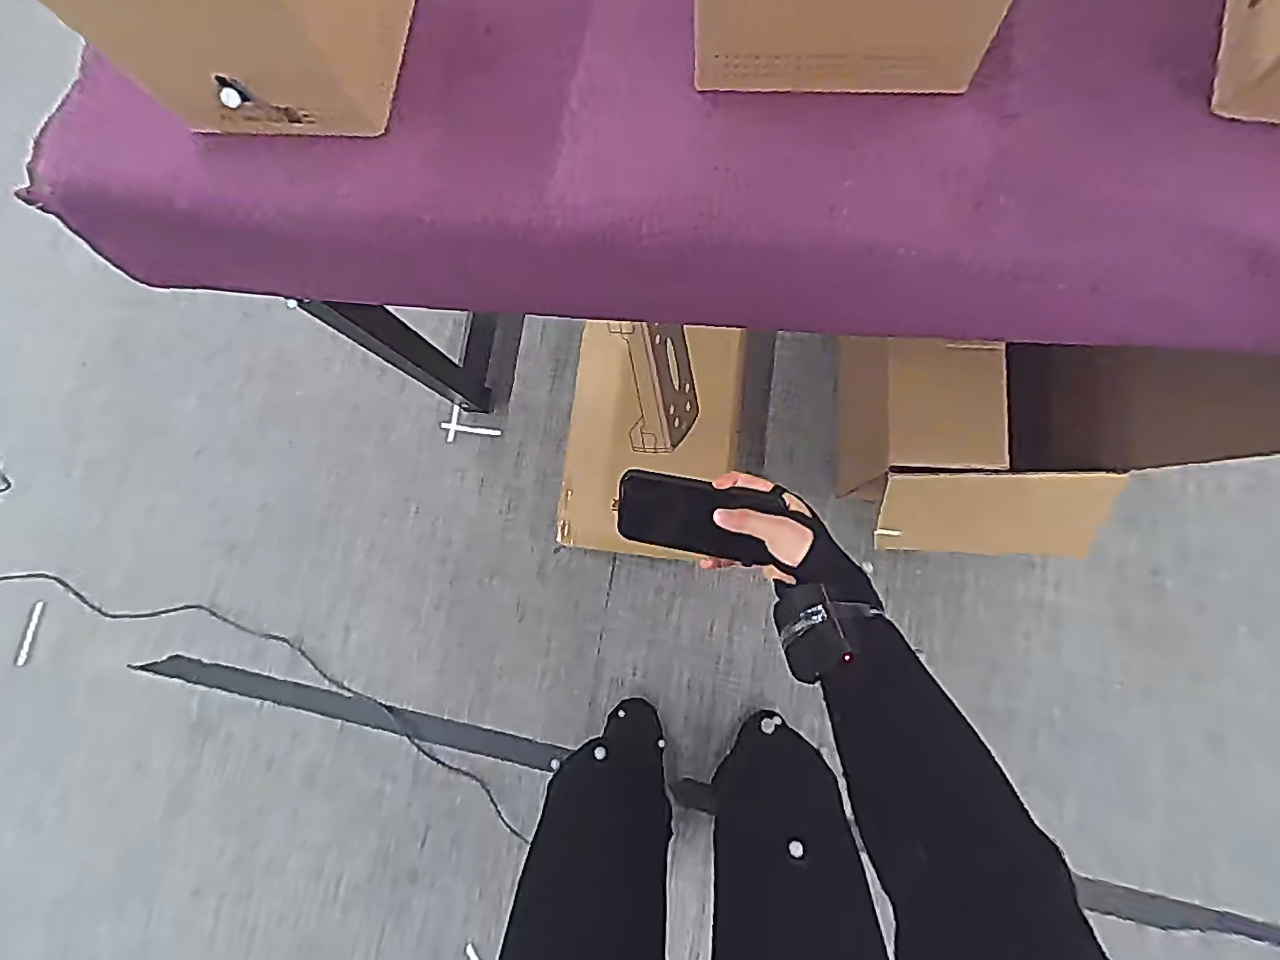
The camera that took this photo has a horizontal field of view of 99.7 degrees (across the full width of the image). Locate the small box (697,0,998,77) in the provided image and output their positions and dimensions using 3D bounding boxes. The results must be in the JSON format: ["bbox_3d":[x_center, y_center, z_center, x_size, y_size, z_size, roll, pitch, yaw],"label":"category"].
[{"bbox_3d":[0.126,-0.357,0.290,0.179,0.176,0.168,6,80,8],"label":"small box"}]

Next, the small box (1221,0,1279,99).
[{"bbox_3d":[0.436,-0.300,0.245,0.179,0.176,0.168,13,83,8],"label":"small box"}]
